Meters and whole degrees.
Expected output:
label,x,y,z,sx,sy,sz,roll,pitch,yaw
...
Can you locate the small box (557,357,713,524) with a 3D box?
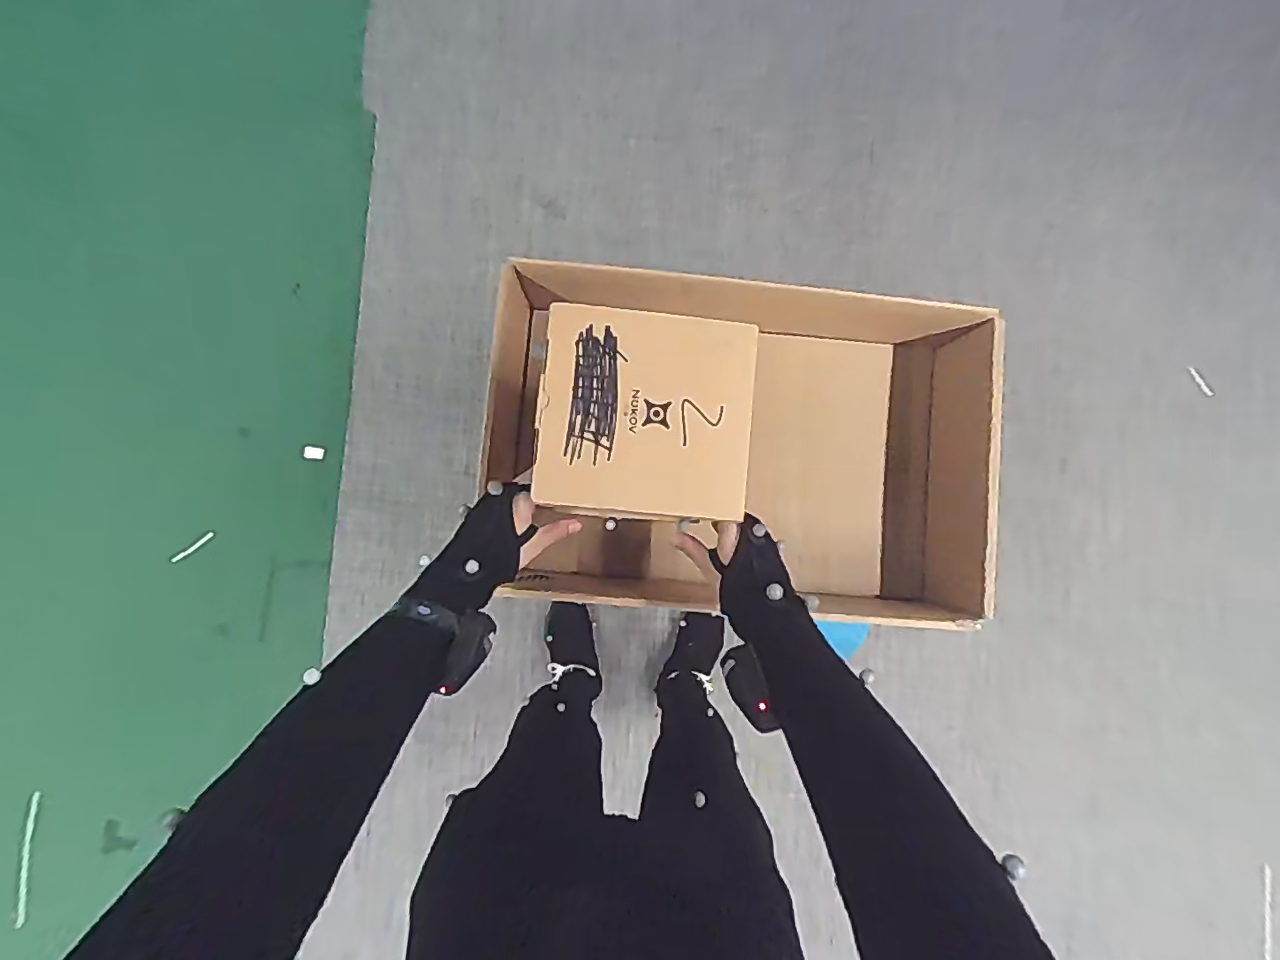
label,x,y,z,sx,sy,sz,roll,pitch,yaw
small box,-0.008,-0.039,0.681,0.168,0.176,0.179,4,85,-2
